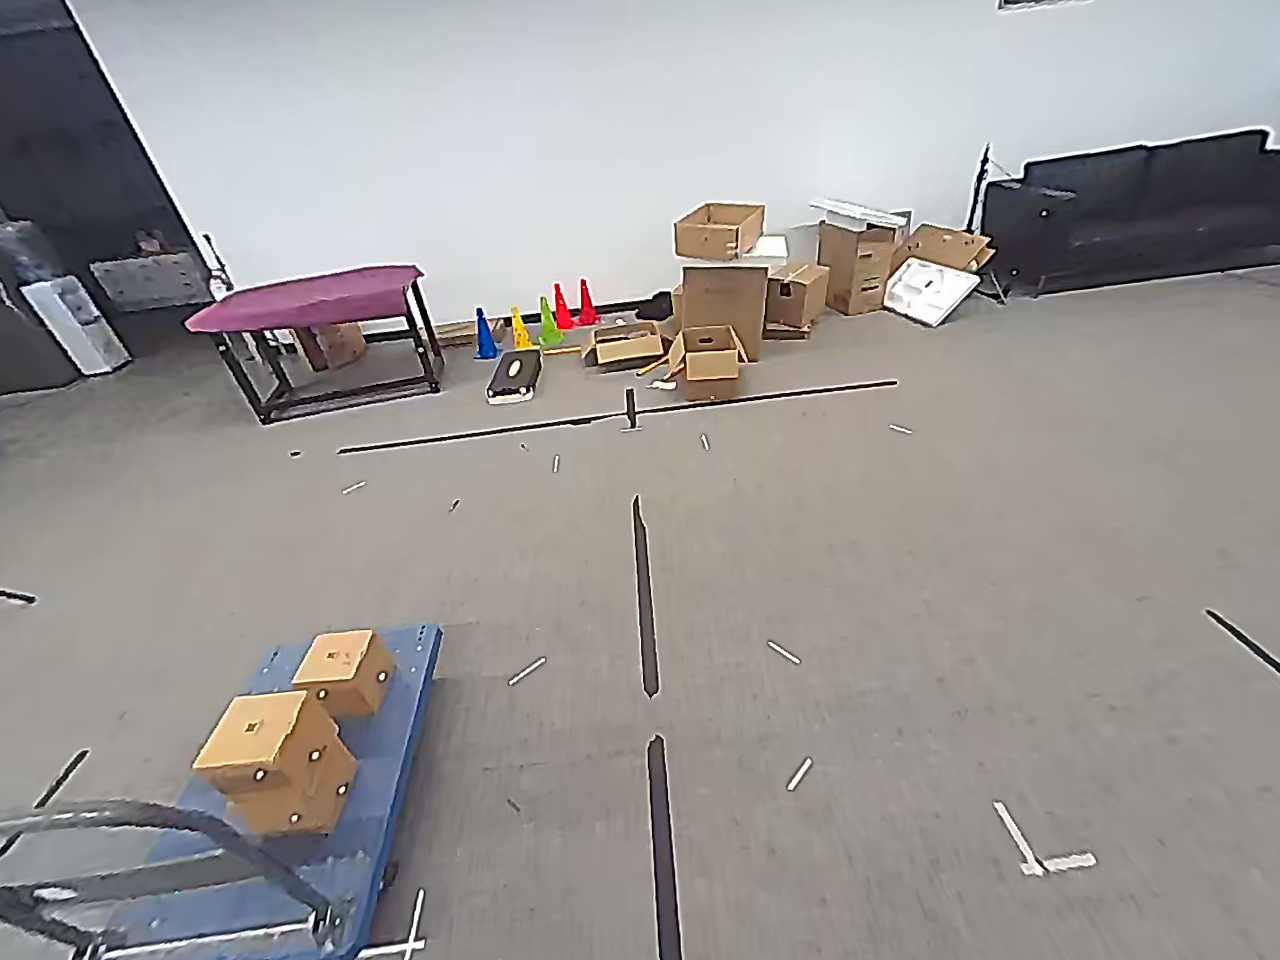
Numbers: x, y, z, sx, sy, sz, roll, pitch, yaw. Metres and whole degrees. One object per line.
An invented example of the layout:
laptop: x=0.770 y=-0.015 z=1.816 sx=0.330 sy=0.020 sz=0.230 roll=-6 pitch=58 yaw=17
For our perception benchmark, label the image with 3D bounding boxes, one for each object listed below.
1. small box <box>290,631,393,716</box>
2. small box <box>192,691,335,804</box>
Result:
small box: x=-0.850 y=0.559 z=1.558 sx=0.179 sy=0.176 sz=0.168 roll=-5 pitch=36 yaw=2
small box: x=-0.830 y=0.602 z=1.214 sx=0.179 sy=0.176 sz=0.168 roll=-5 pitch=35 yaw=0
